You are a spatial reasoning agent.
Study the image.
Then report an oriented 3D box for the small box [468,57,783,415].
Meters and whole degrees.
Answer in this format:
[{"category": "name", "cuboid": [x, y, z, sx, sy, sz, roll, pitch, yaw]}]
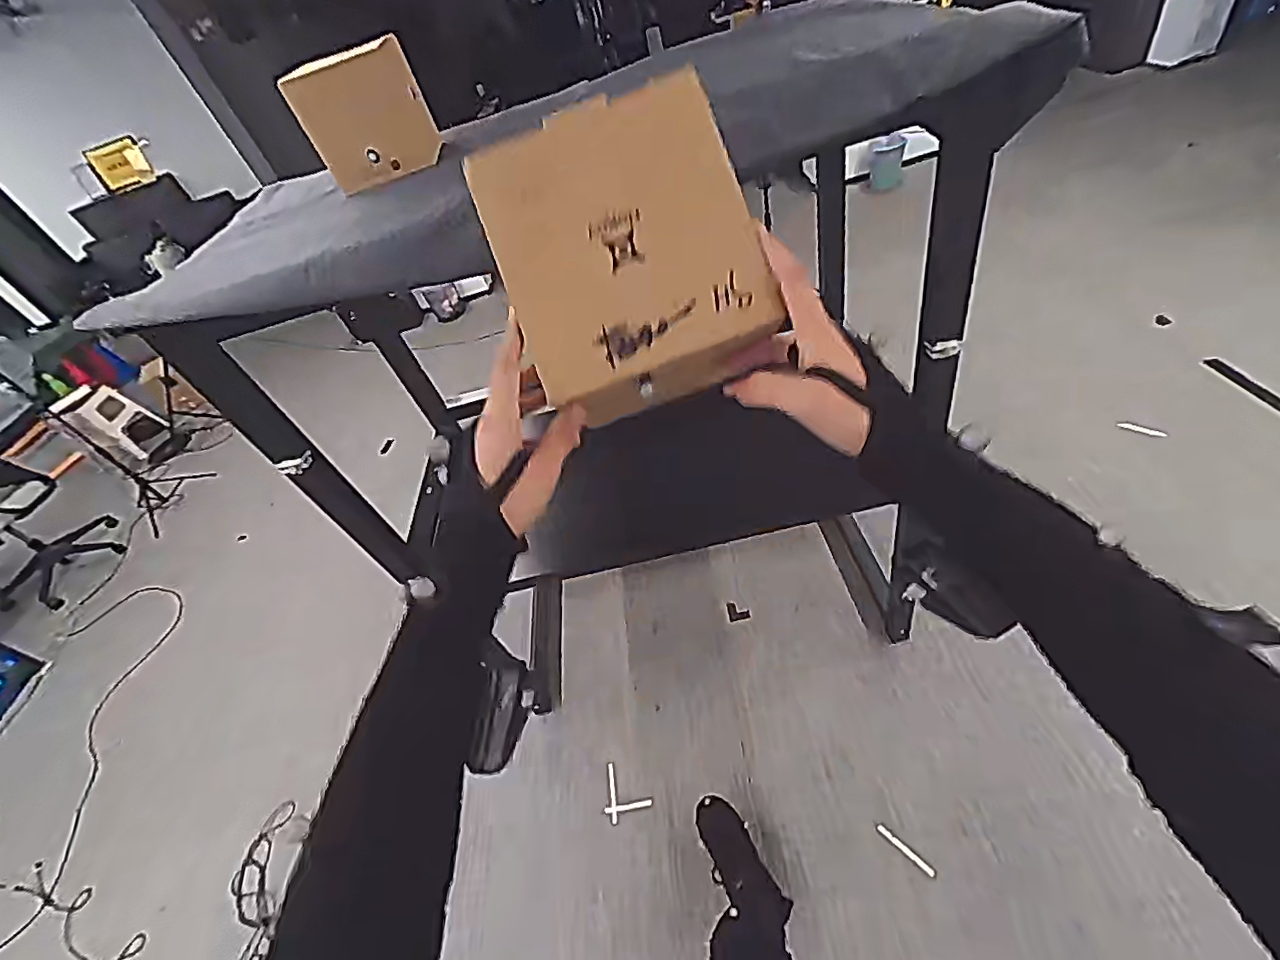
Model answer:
[{"category": "small box", "cuboid": [-0.007, -0.167, 0.430, 0.168, 0.176, 0.179, -20, 88, 4]}]
